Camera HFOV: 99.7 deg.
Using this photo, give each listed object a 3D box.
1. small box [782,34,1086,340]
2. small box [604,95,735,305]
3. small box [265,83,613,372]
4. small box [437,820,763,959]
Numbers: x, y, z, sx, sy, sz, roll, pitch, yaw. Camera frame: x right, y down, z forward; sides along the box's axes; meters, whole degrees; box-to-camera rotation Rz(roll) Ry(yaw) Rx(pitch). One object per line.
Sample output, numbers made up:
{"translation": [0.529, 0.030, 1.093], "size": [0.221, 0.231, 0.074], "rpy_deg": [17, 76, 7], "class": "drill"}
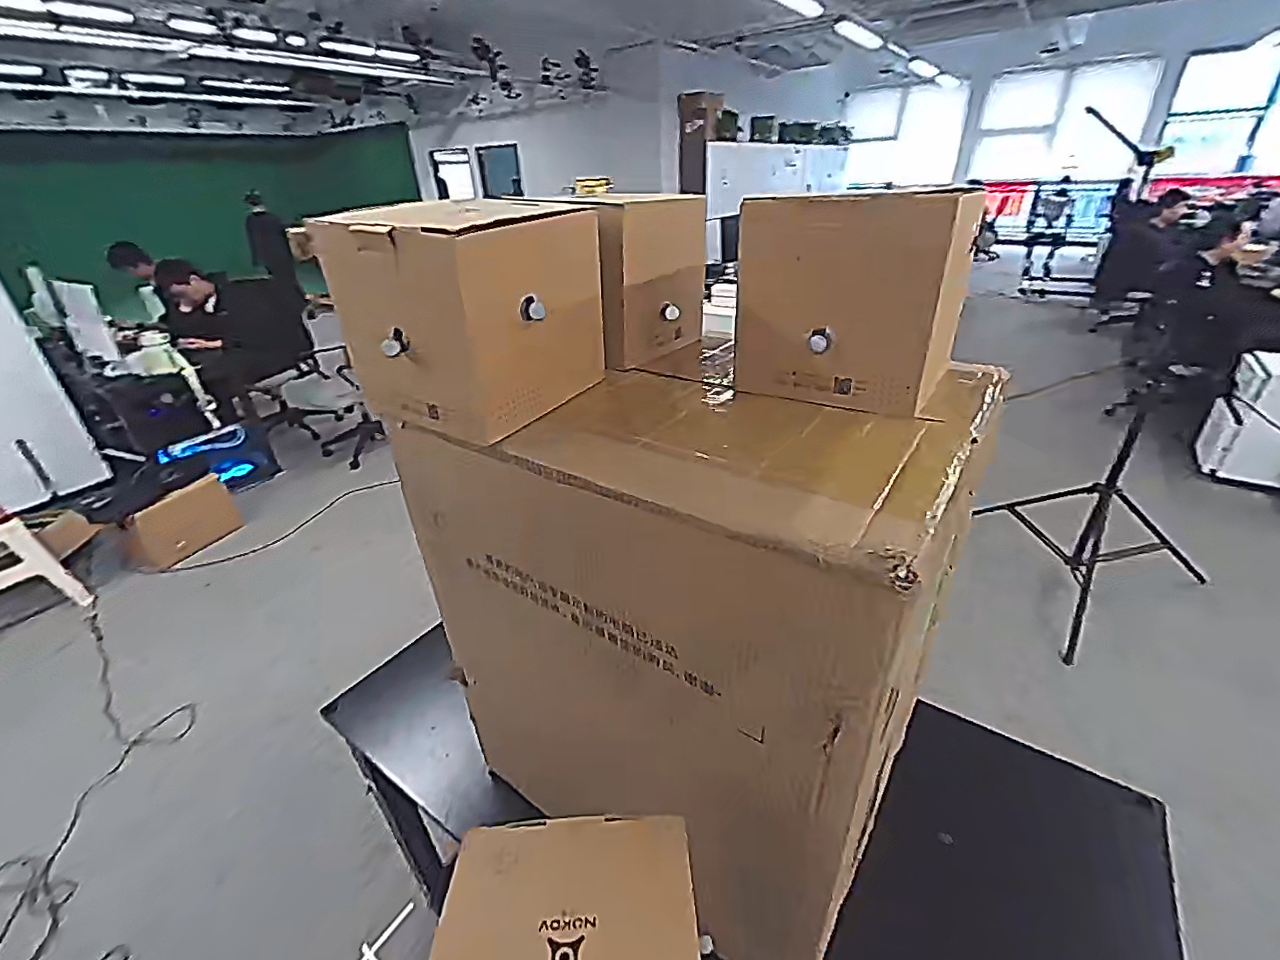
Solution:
{"translation": [0.222, -0.219, 0.429], "size": [0.168, 0.176, 0.179], "rpy_deg": [15, 33, 31], "class": "small box"}
{"translation": [-0.020, -0.288, 0.569], "size": [0.179, 0.176, 0.168], "rpy_deg": [19, 36, 31], "class": "small box"}
{"translation": [-0.130, -0.198, 0.421], "size": [0.168, 0.176, 0.179], "rpy_deg": [17, 38, 25], "class": "small box"}
{"translation": [-0.018, 0.318, 0.278], "size": [0.168, 0.176, 0.179], "rpy_deg": [-3, 19, -2], "class": "small box"}
